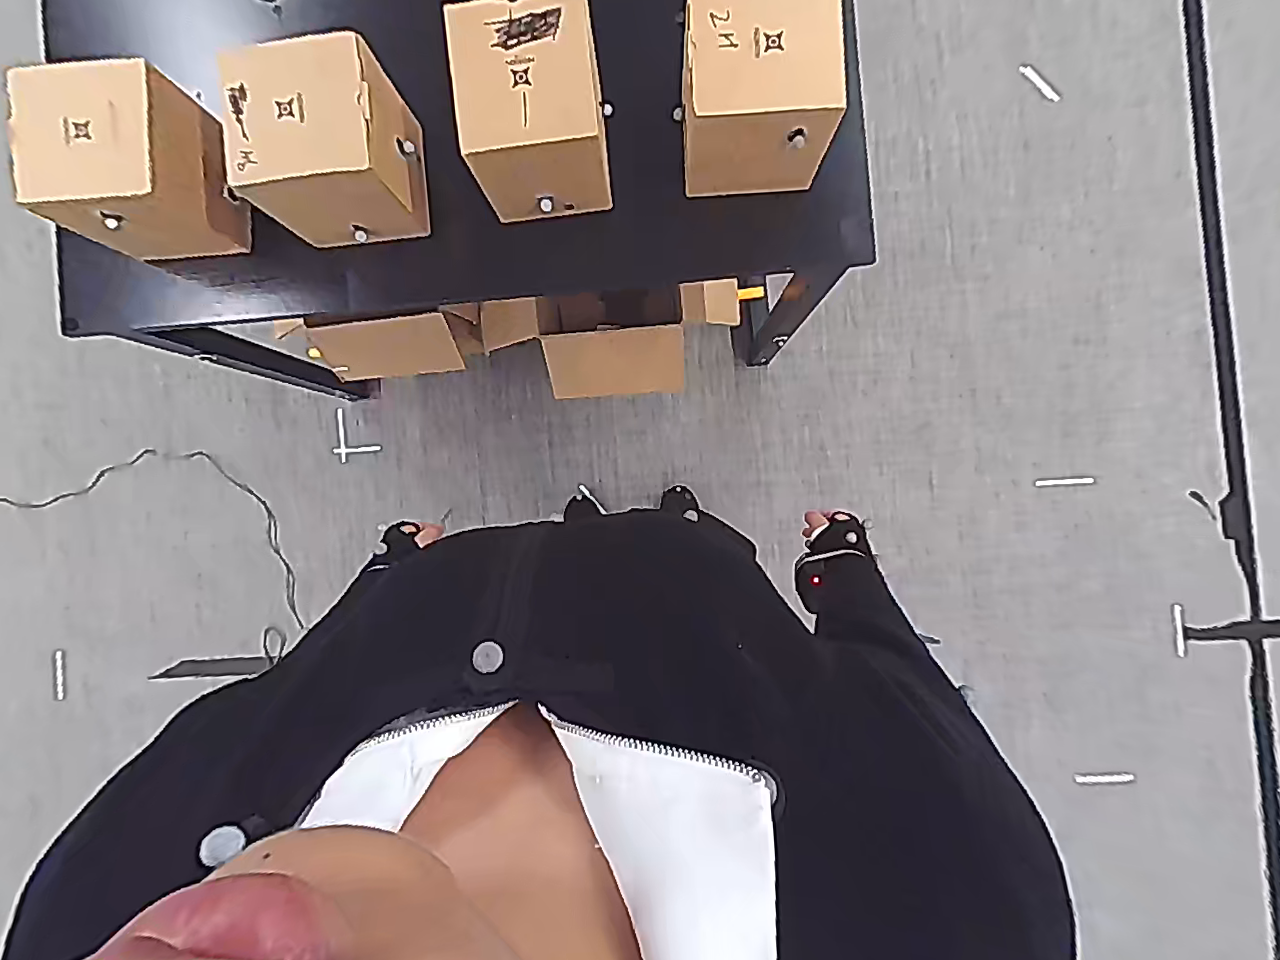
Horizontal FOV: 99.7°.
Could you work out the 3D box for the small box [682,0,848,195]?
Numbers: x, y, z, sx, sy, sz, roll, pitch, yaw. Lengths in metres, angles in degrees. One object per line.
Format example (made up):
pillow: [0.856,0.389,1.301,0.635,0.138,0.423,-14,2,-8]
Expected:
small box: [0.147,-0.490,0.688,0.179,0.176,0.168,-2,88,3]

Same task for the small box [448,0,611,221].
small box: [-0.131,-0.467,0.699,0.168,0.176,0.179,-6,89,2]

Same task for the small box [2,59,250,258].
small box: [-0.663,-0.408,0.716,0.179,0.176,0.168,-3,90,1]

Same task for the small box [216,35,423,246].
small box: [-0.400,-0.428,0.708,0.179,0.176,0.168,-6,89,0]
